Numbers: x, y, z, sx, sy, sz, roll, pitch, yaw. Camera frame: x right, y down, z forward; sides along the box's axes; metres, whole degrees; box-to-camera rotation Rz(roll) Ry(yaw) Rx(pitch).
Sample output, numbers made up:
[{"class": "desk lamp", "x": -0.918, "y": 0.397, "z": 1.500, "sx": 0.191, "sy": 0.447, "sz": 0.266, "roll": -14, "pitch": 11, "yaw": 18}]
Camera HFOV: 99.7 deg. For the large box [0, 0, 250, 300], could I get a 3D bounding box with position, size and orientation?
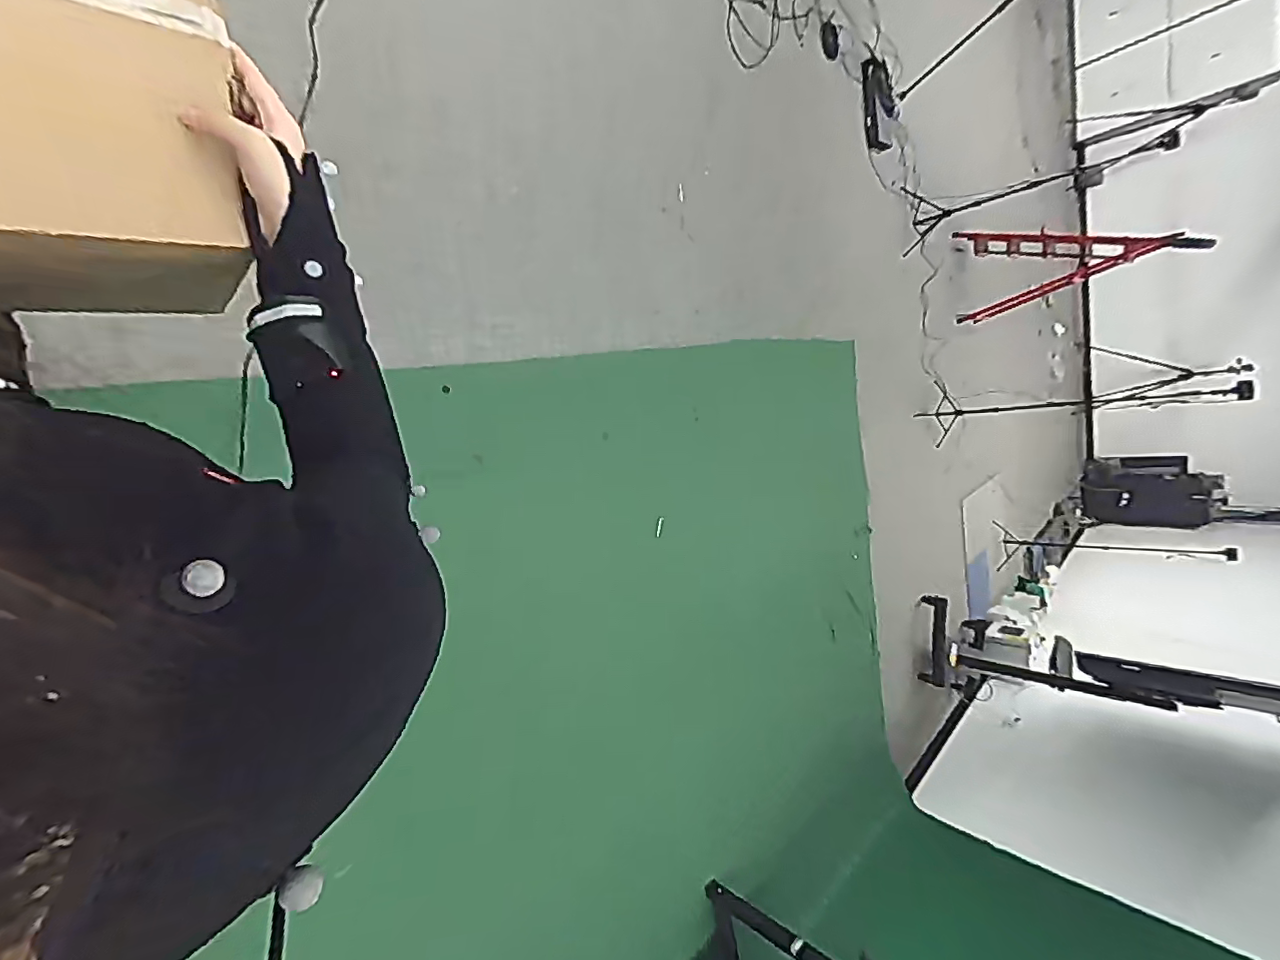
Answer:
[{"class": "large box", "x": -0.577, "y": -0.316, "z": 0.399, "sx": 0.408, "sy": 0.320, "sz": 0.320, "roll": -15, "pitch": 102, "yaw": -39}]
